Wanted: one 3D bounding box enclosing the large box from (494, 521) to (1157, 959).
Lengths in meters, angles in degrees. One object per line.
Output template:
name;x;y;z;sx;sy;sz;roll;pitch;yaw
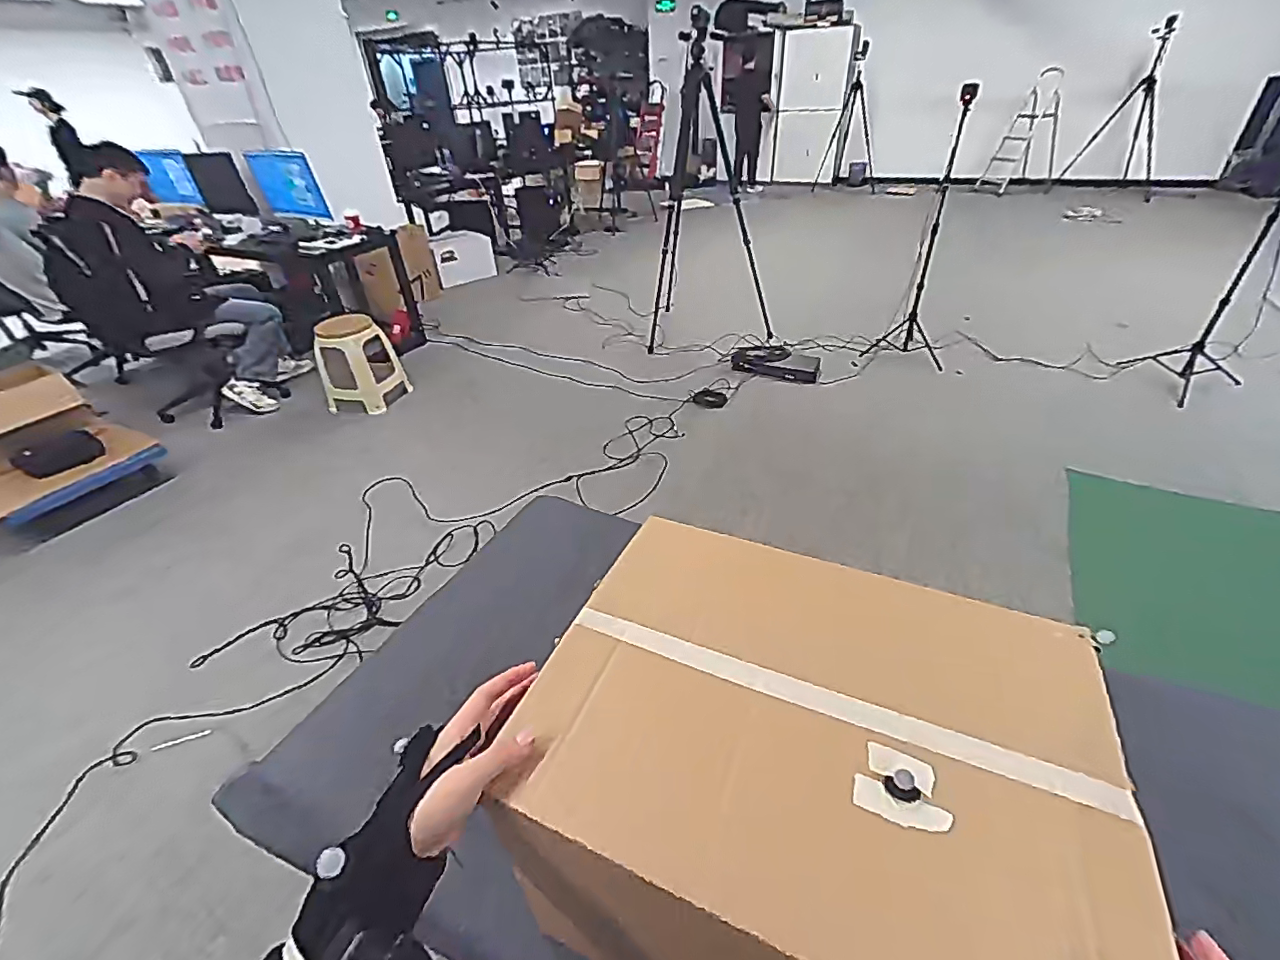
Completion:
large box;0.137;0.289;0.511;0.408;0.320;0.320;14;40;20
